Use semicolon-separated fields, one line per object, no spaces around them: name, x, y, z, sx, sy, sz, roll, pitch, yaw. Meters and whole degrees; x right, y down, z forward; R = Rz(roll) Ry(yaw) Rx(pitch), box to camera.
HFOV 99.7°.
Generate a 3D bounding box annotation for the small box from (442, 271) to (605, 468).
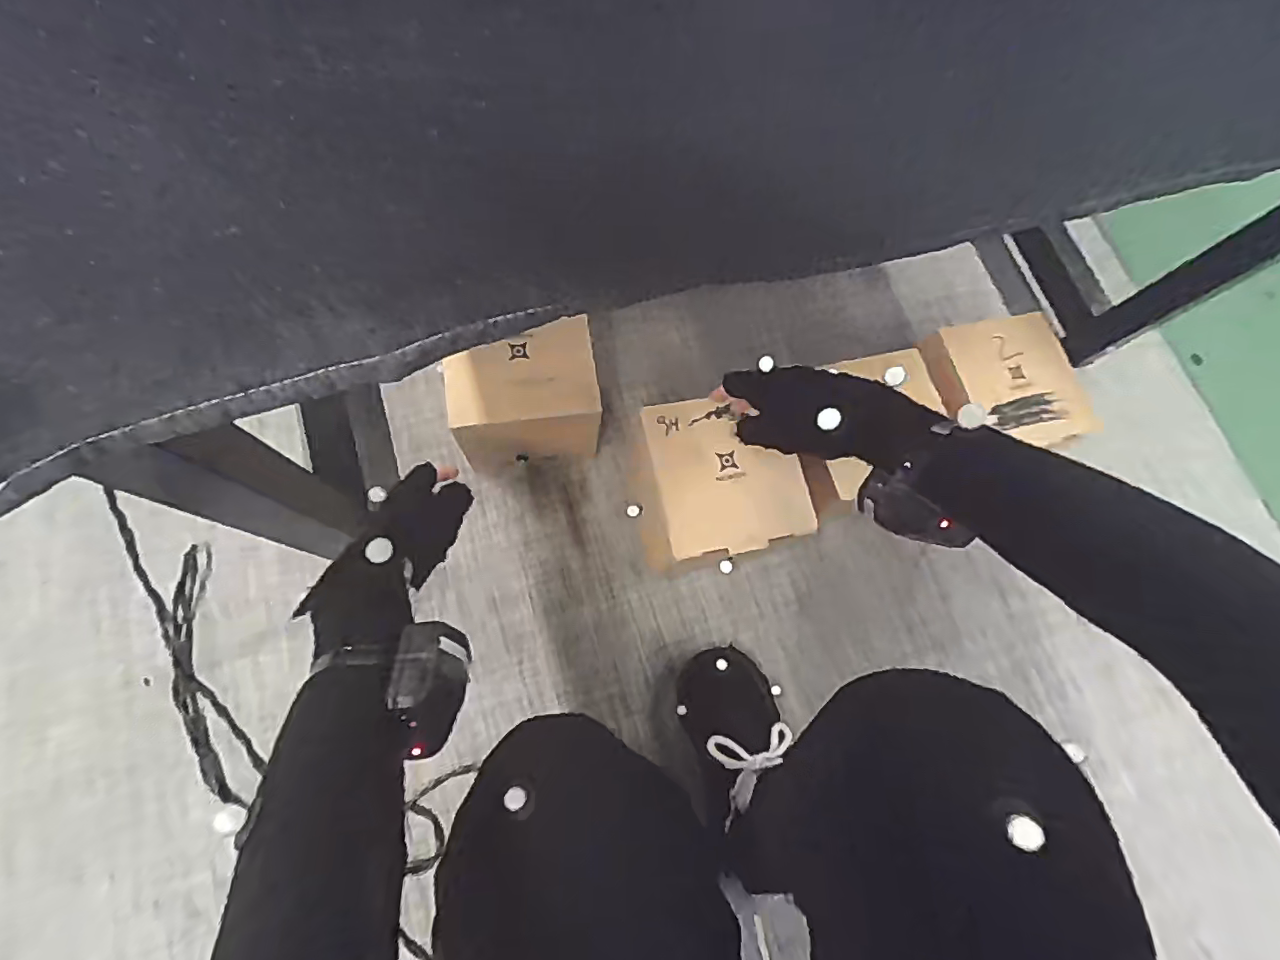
small box;-0.140;-0.130;0.669;0.168;0.176;0.179;-7;74;-9
